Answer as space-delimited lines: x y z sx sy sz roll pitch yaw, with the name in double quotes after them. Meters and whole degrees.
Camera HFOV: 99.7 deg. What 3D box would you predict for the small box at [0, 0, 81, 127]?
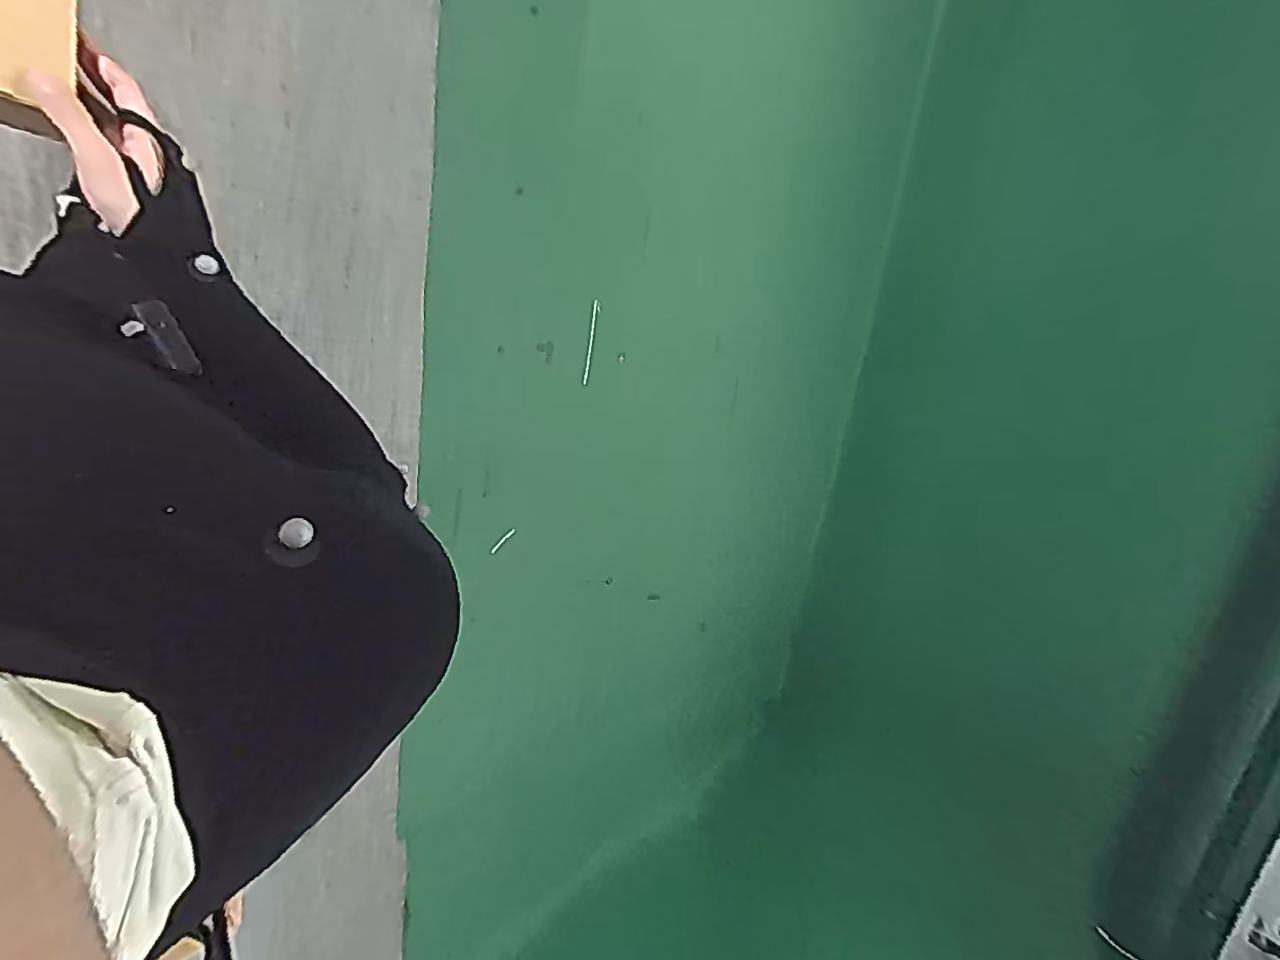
-0.506 -0.381 0.372 0.168 0.176 0.179 2 106 -47 "small box"
